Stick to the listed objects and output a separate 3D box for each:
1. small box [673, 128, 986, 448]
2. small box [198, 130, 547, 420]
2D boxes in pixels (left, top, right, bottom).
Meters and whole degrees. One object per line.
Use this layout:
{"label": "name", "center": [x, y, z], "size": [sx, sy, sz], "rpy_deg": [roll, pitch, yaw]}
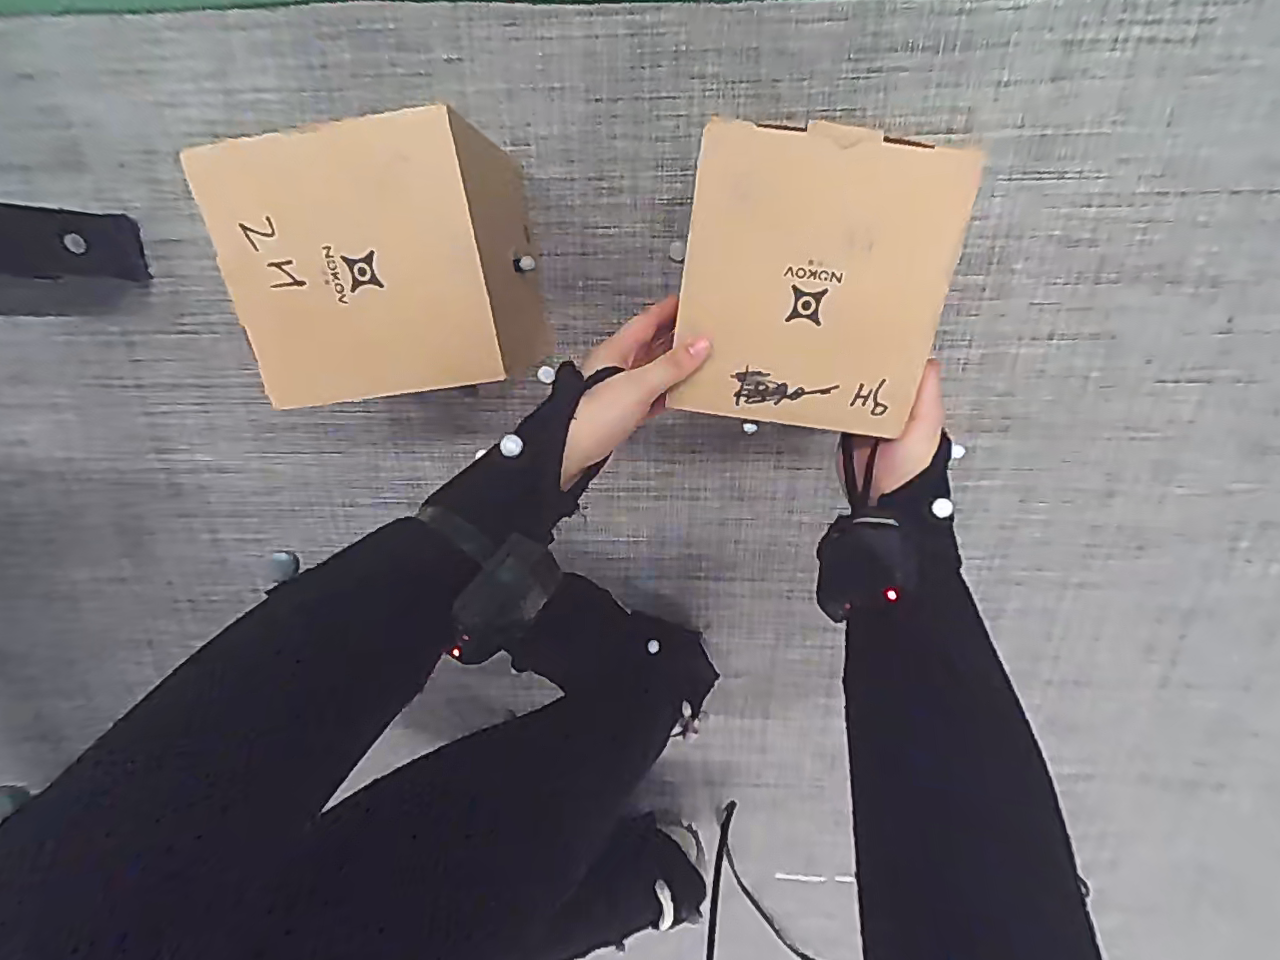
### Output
{"label": "small box", "center": [0.117, -0.140, 0.420], "size": [0.168, 0.176, 0.179], "rpy_deg": [8, 109, 1]}
{"label": "small box", "center": [-0.179, -0.155, 0.433], "size": [0.179, 0.176, 0.168], "rpy_deg": [-6, 109, 5]}
